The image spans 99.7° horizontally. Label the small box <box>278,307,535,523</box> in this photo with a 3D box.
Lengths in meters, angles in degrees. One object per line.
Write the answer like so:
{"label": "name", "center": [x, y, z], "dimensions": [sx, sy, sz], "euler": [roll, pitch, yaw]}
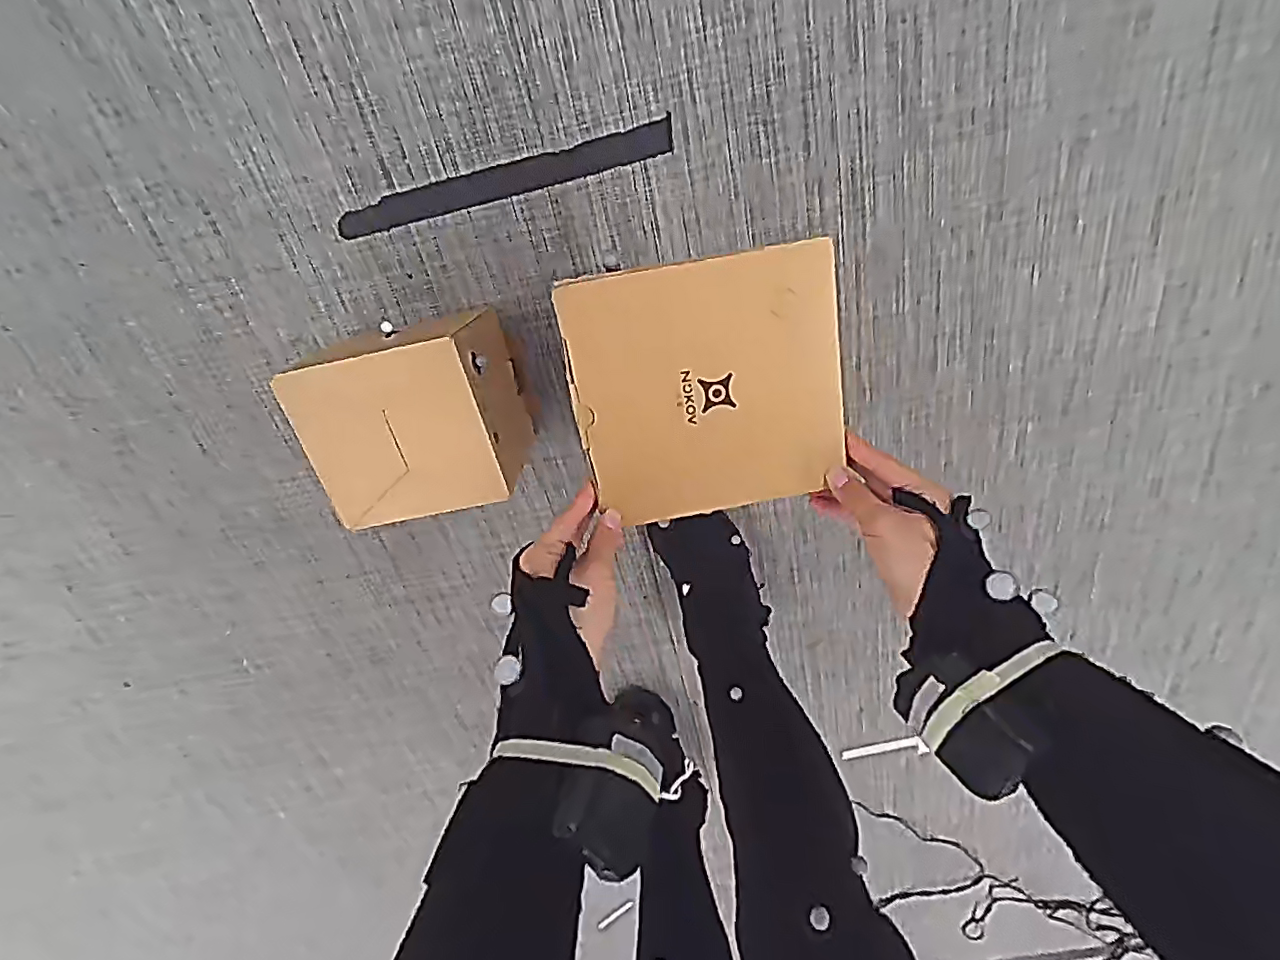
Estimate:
{"label": "small box", "center": [-0.229, -0.072, 0.579], "dimensions": [0.179, 0.176, 0.168], "euler": [-12, 116, 3]}

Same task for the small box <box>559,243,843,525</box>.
{"label": "small box", "center": [0.042, -0.084, 0.432], "dimensions": [0.179, 0.176, 0.168], "euler": [-10, 109, 1]}
